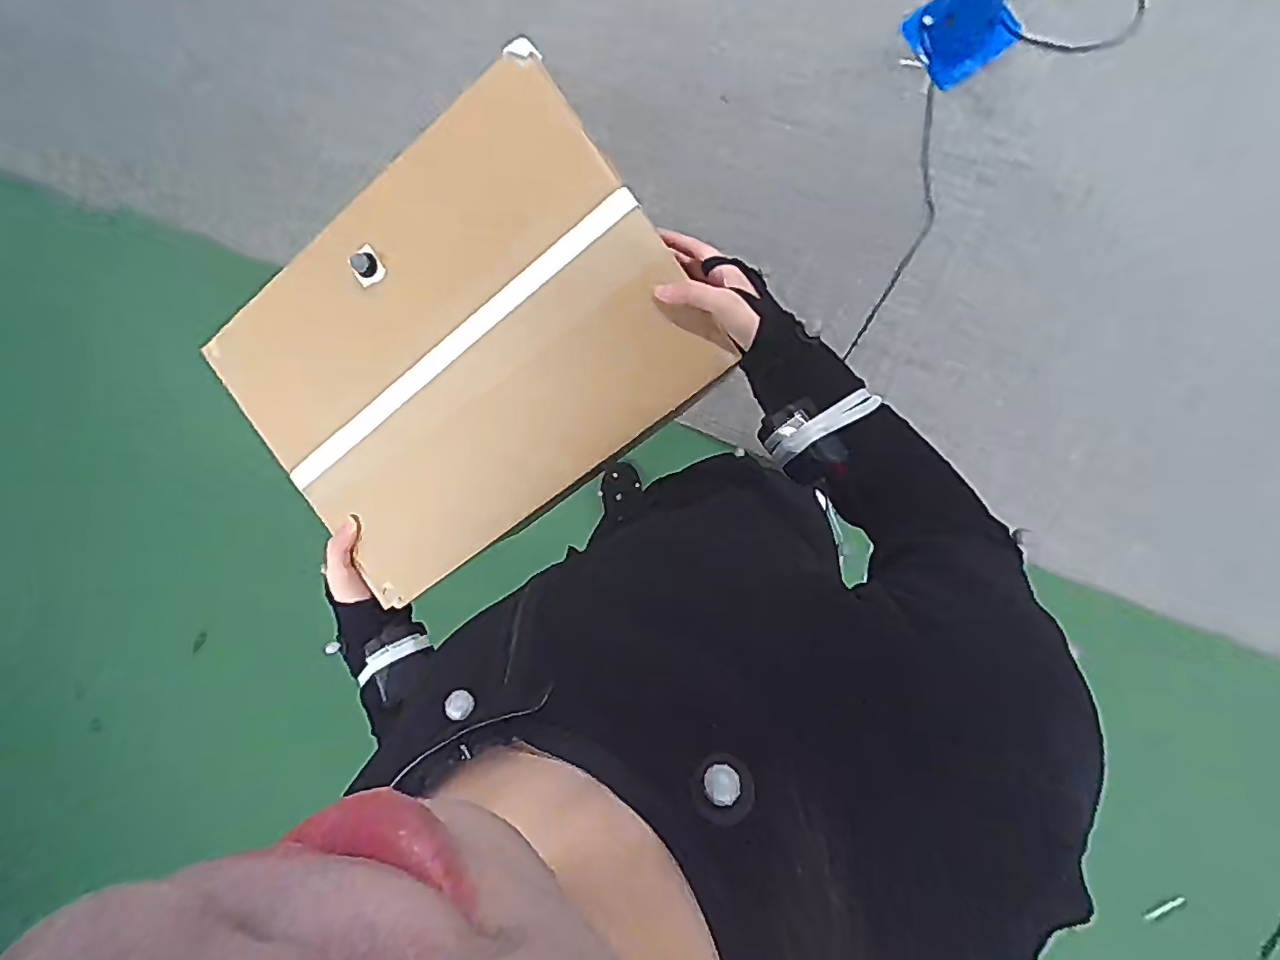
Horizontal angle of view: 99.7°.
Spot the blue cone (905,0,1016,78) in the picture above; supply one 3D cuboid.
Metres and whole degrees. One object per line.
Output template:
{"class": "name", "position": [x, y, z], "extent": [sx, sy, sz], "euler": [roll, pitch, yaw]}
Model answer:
{"class": "blue cone", "position": [0.700, -1.030, 1.079], "extent": [0.193, 0.380, 0.192], "euler": [-36, 87, 13]}
